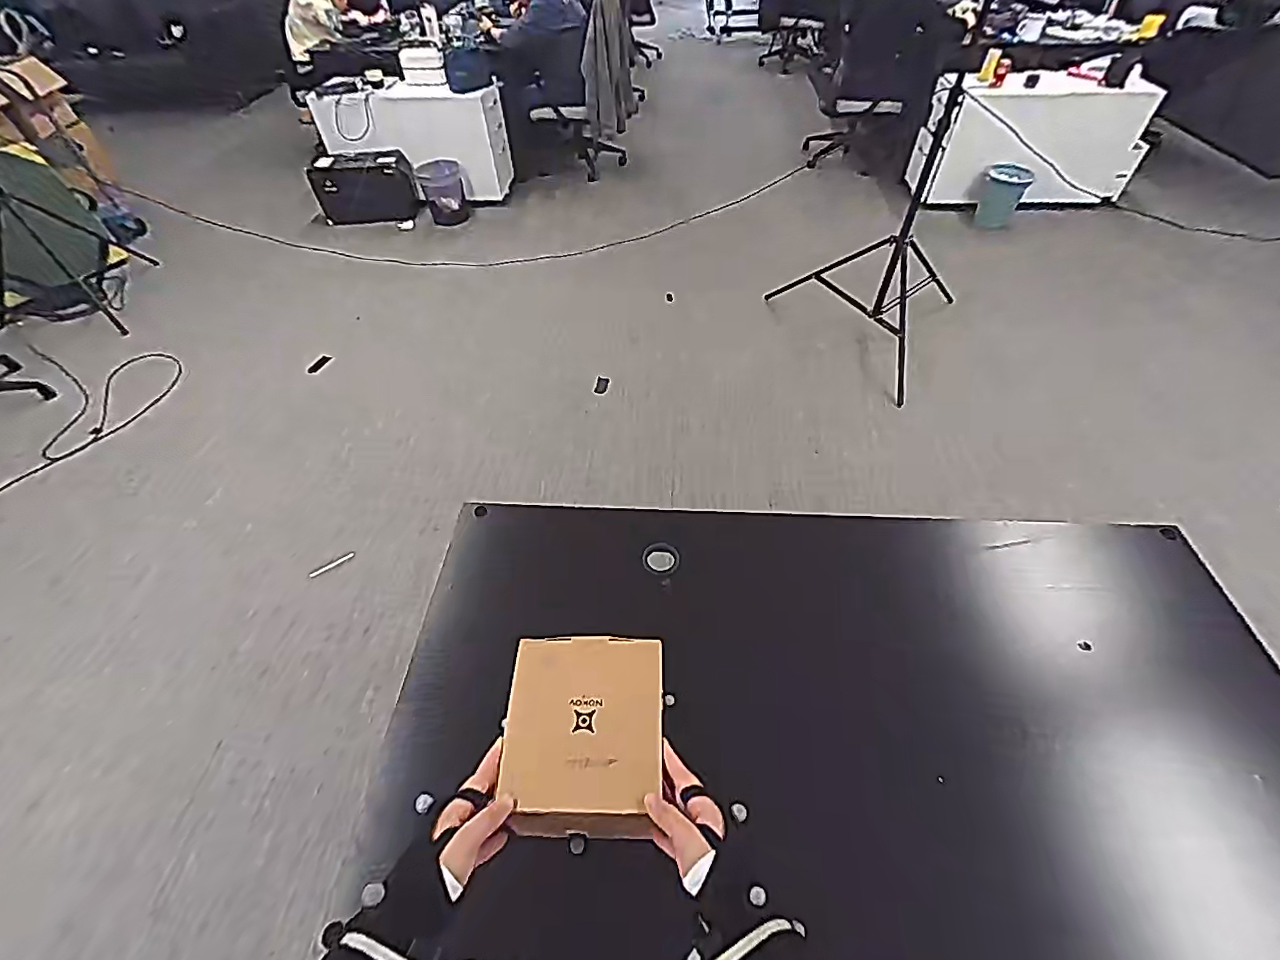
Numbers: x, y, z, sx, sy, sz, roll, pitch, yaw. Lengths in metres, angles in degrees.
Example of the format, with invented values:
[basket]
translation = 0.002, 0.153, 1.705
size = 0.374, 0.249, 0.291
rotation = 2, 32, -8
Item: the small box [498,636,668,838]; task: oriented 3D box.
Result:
[small box]
translation = -0.053, 0.299, 0.628
size = 0.168, 0.176, 0.179
rotation = -1, 50, 2
